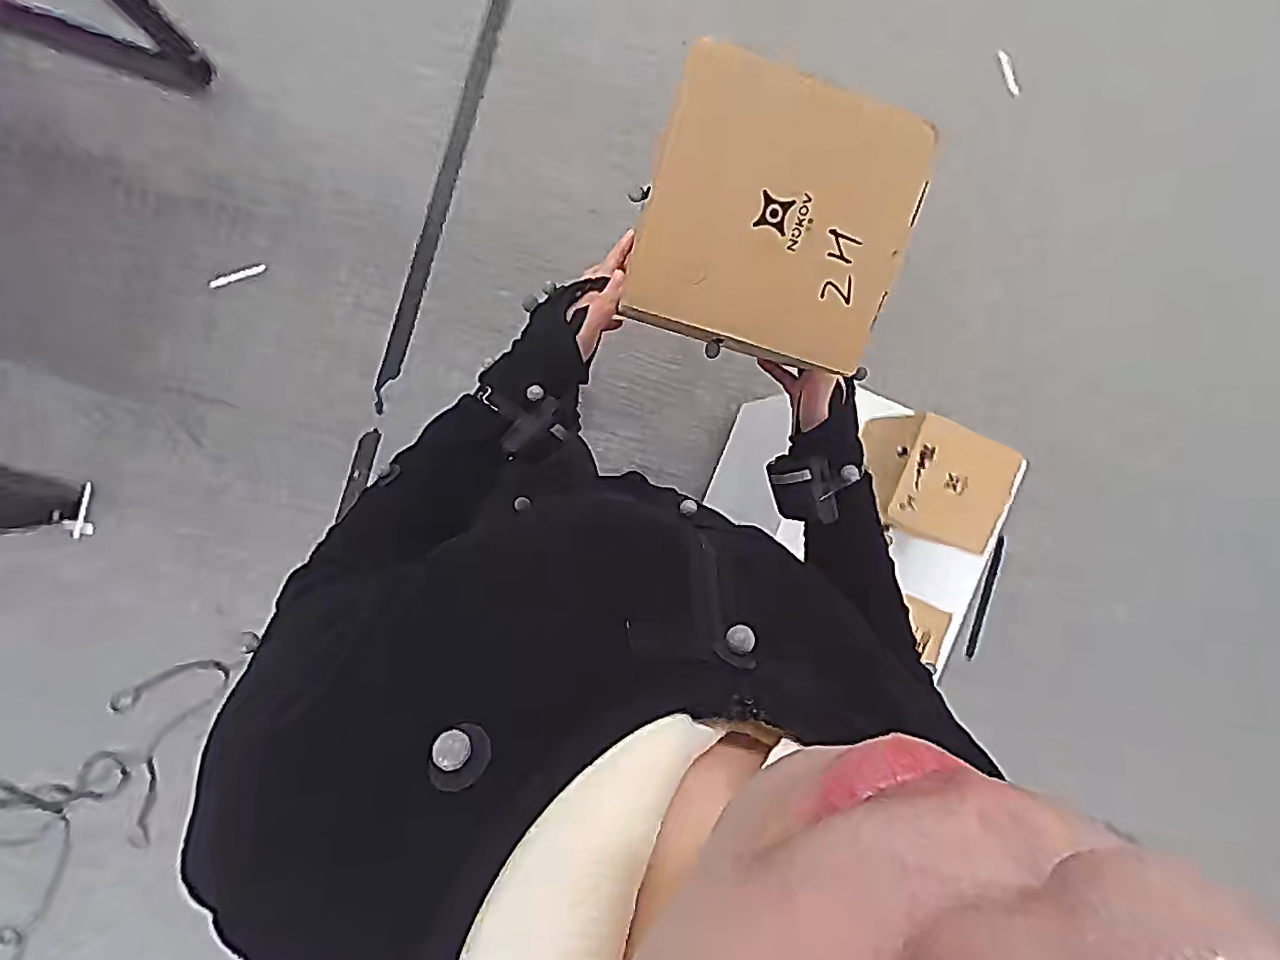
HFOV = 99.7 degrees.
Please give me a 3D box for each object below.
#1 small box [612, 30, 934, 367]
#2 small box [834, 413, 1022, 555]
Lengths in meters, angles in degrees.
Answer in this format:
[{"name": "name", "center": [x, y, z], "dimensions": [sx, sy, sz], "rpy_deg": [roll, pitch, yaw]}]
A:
[{"name": "small box", "center": [0.080, -0.196, 0.432], "dimensions": [0.179, 0.176, 0.168], "rpy_deg": [14, 104, -9]}, {"name": "small box", "center": [0.456, 0.001, 0.881], "dimensions": [0.179, 0.176, 0.168], "rpy_deg": [23, 90, -9]}]
